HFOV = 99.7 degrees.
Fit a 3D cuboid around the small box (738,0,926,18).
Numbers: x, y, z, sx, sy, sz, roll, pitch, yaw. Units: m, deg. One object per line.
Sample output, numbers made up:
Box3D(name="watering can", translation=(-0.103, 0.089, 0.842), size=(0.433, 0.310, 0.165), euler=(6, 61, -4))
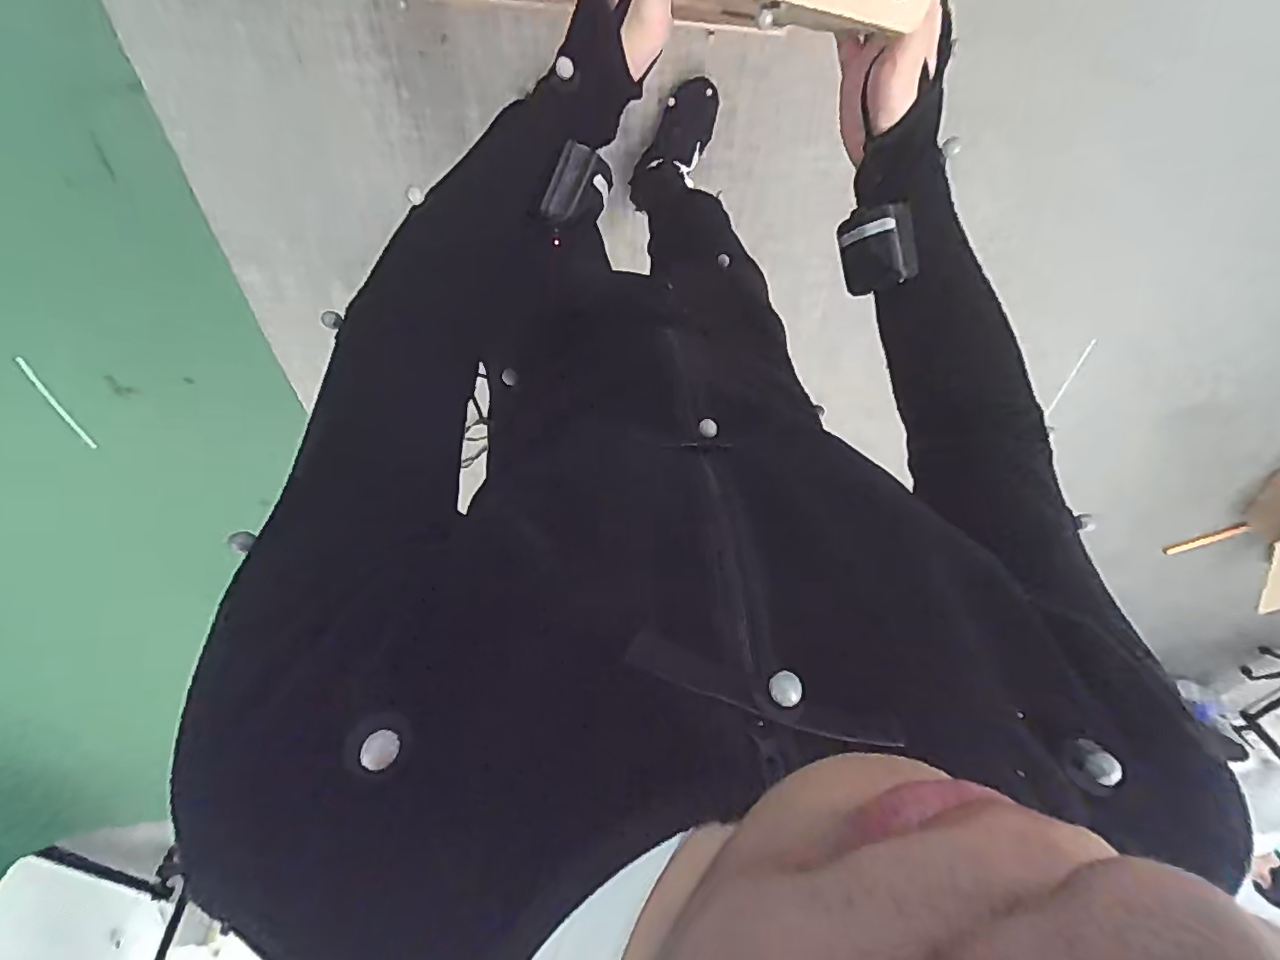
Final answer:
Box3D(name="small box", translation=(0.105, -0.420, 0.340), size=(0.168, 0.176, 0.179), euler=(4, 130, -9))
